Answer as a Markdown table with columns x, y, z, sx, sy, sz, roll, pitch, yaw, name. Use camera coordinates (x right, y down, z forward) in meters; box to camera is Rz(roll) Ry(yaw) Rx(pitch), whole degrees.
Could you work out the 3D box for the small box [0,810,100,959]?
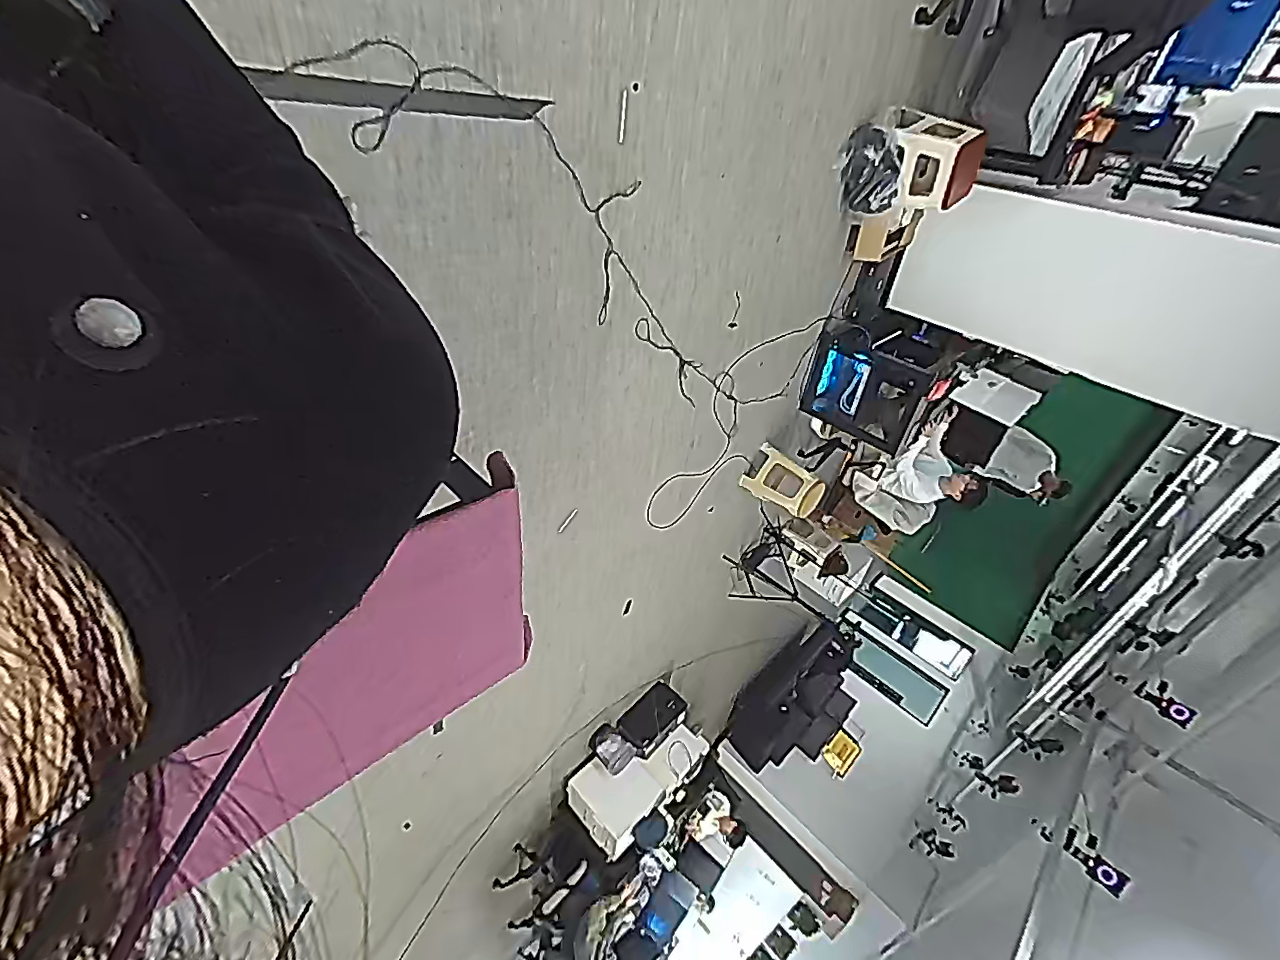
| x | y | z | sx | sy | sz | roll | pitch | yaw | name |
| --- | --- | --- | --- | --- | --- | --- | --- | --- | --- |
| -0.856 | 0.582 | 0.696 | 0.179 | 0.176 | 0.168 | -26 | 139 | -39 | small box |
